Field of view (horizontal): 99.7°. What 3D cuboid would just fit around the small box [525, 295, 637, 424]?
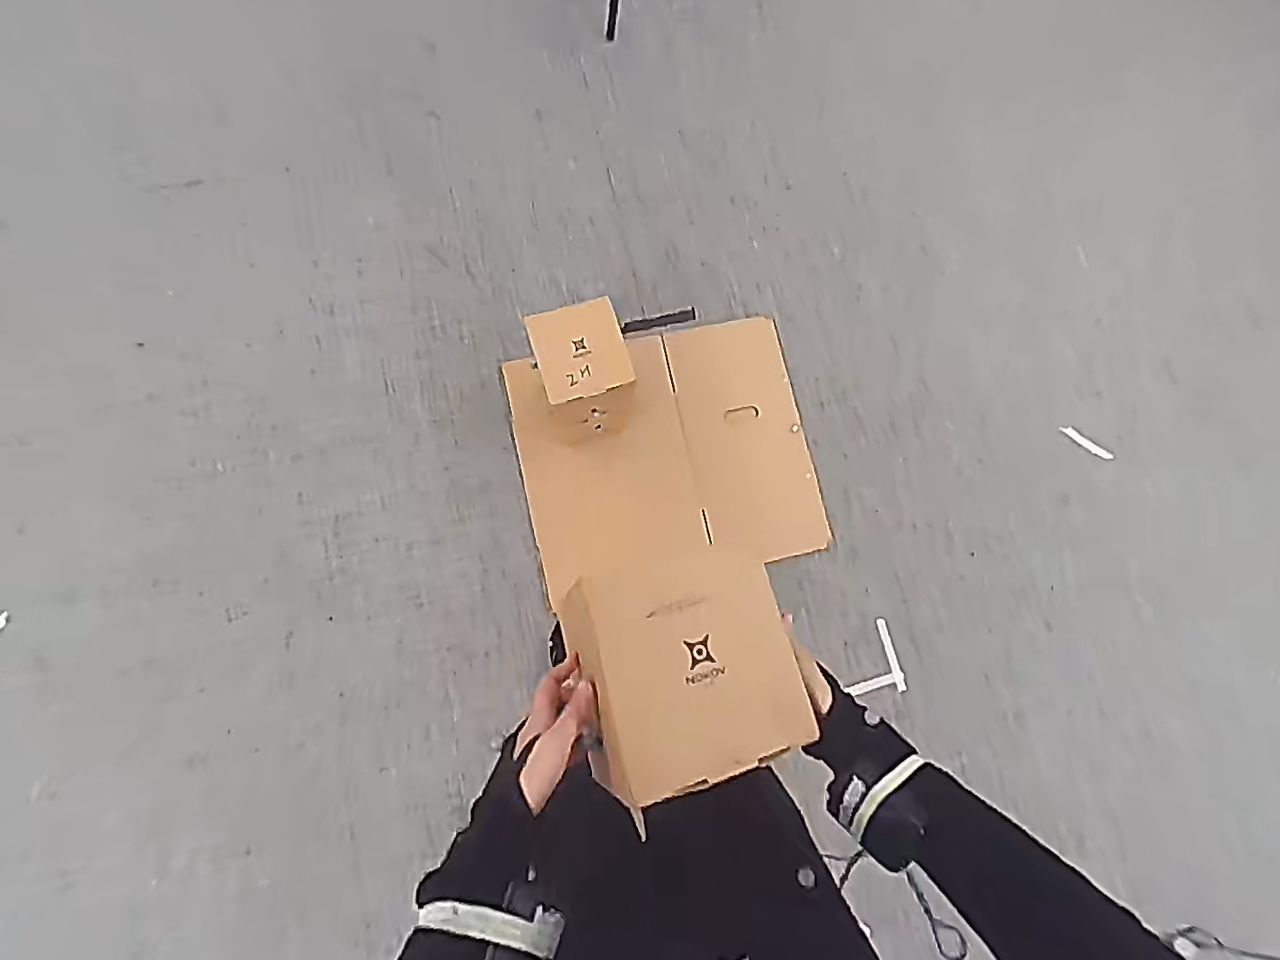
[{"bbox_3d":[-0.115,-0.228,1.058,0.168,0.176,0.179,-18,84,-6],"label":"small box"}]

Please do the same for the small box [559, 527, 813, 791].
[{"bbox_3d":[0.027,0.162,0.513,0.168,0.176,0.179,-10,72,-19],"label":"small box"}]

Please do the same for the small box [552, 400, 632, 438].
[{"bbox_3d":[-0.125,-0.204,1.221,0.168,0.176,0.179,-19,85,-8],"label":"small box"}]
